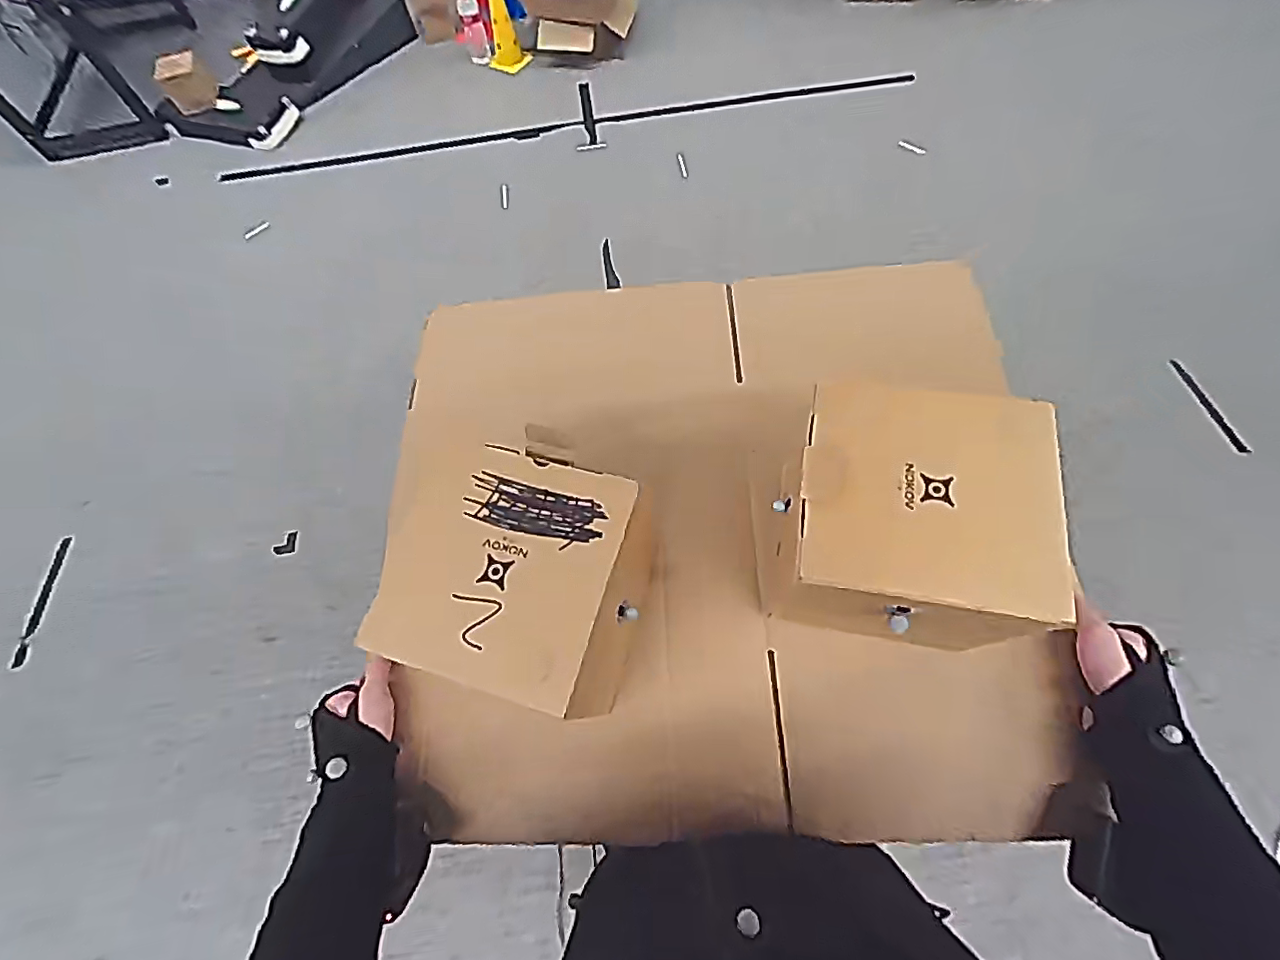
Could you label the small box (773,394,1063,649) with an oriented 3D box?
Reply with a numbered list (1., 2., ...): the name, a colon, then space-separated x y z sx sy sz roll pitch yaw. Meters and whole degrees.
1. small box: 0.222 0.046 0.475 0.179 0.176 0.168 8 68 11
